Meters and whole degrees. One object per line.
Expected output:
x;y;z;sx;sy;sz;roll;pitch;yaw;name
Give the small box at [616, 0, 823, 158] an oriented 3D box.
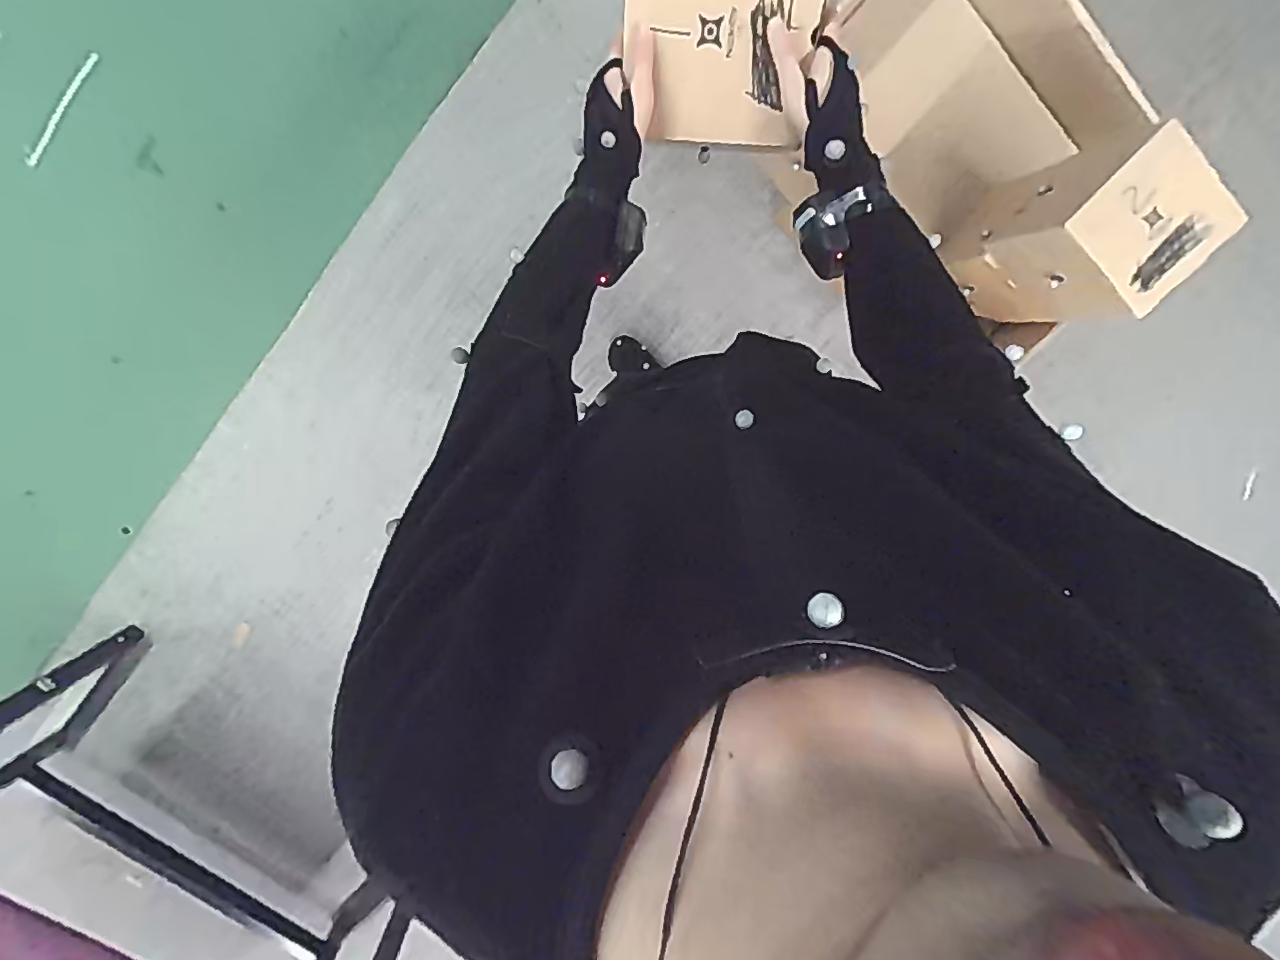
0.080;-0.427;0.546;0.179;0.176;0.168;8;120;8;small box
